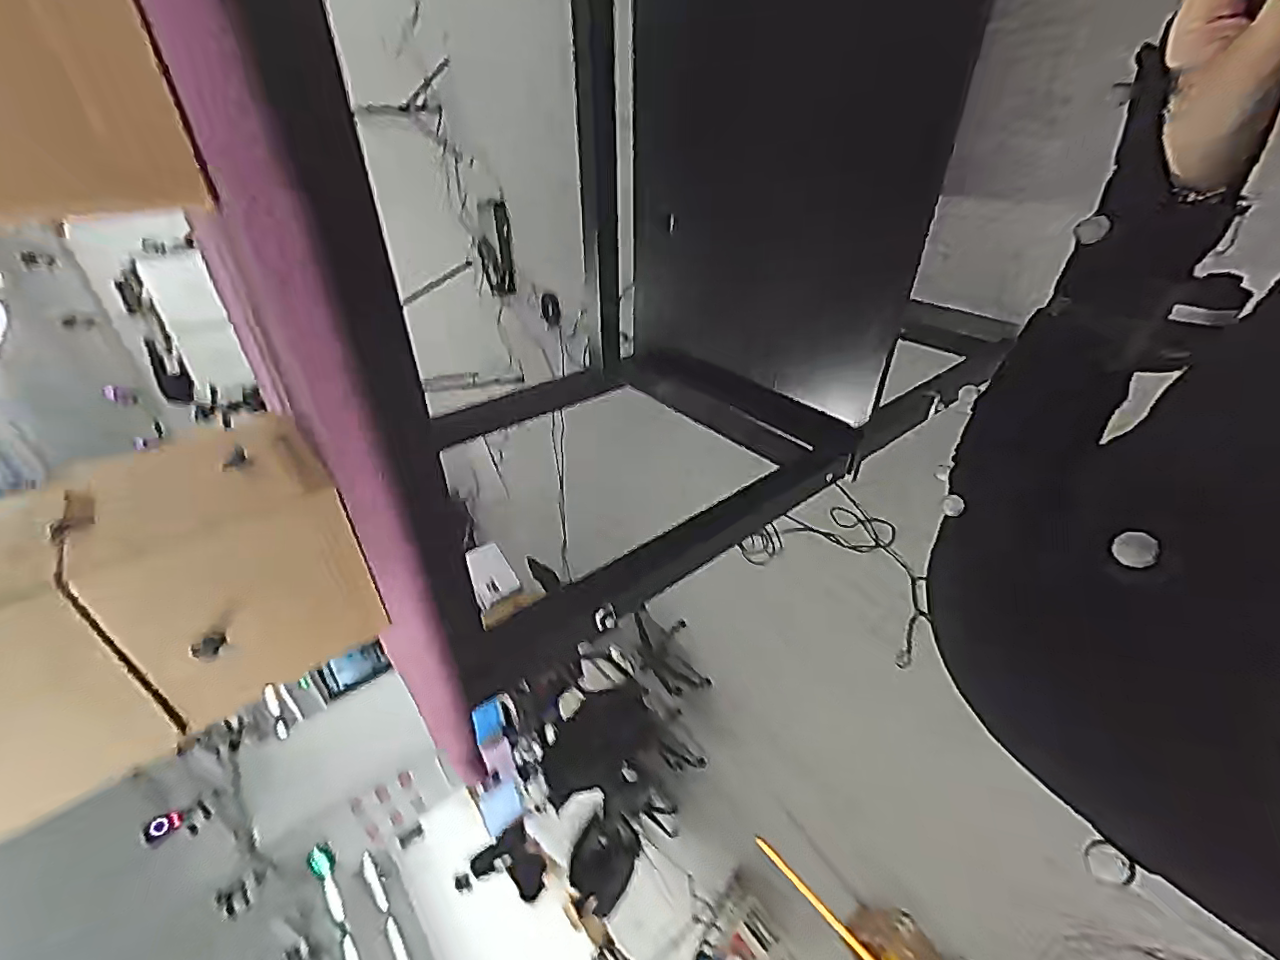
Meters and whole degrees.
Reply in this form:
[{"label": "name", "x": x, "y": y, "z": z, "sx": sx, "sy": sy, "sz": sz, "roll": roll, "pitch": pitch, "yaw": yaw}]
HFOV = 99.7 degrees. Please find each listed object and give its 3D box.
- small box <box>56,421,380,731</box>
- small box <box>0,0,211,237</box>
[{"label": "small box", "x": -0.358, "y": 0.072, "z": 0.484, "sx": 0.168, "sy": 0.176, "sz": 0.179, "roll": 33, "pitch": 136, "yaw": 39}, {"label": "small box", "x": -0.369, "y": -0.236, "z": 0.292, "sx": 0.168, "sy": 0.176, "sz": 0.179, "roll": 36, "pitch": 138, "yaw": 40}]
